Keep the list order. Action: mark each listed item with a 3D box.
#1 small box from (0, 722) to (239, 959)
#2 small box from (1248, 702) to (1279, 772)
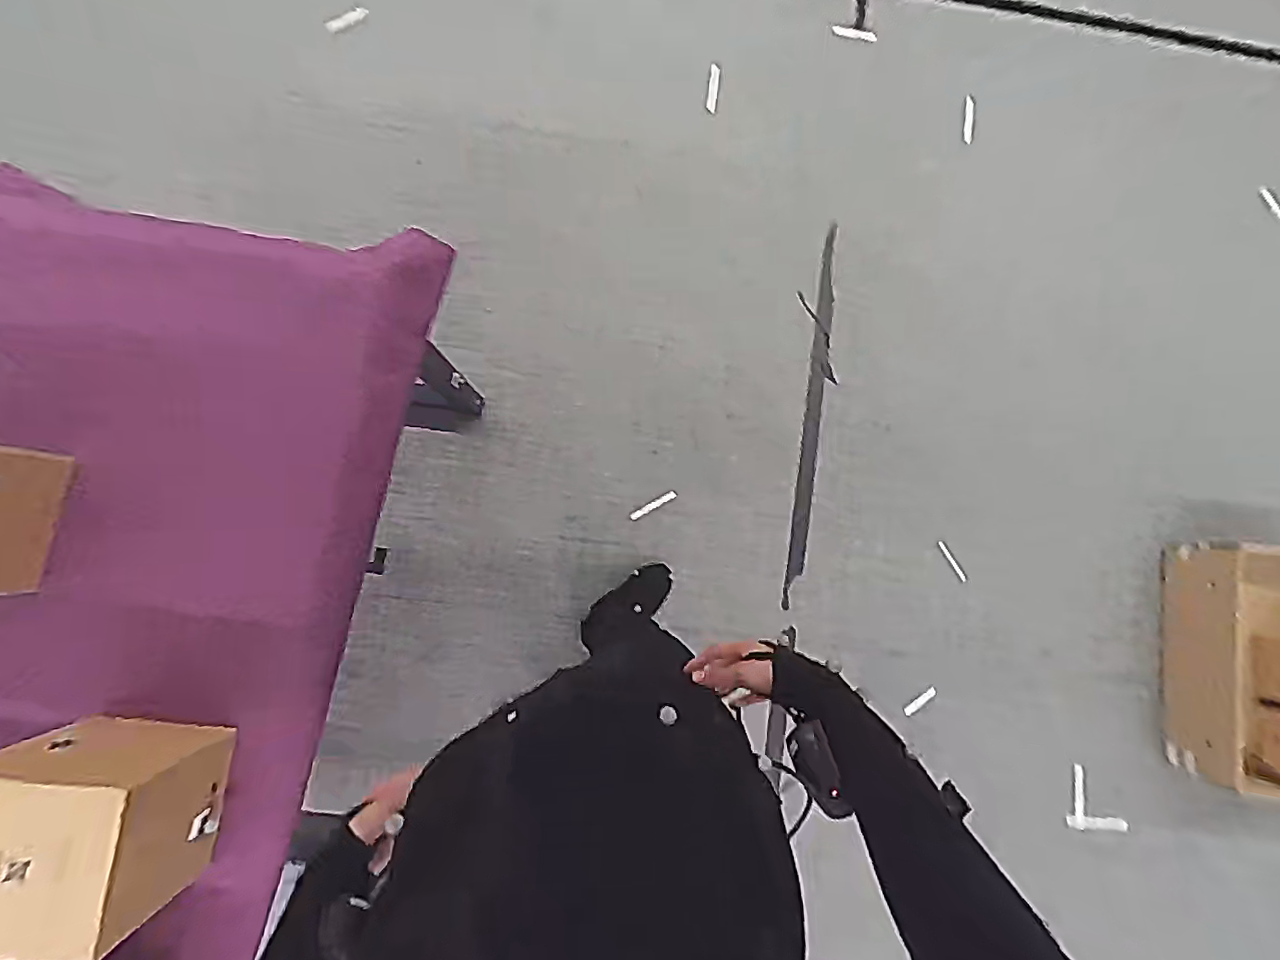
[{"bbox_3d":[-0.600,0.383,0.598,0.179,0.176,0.168,7,84,-4],"label":"small box"},{"bbox_3d":[1.750,0.687,1.395,0.179,0.176,0.168,7,83,0],"label":"small box"}]
